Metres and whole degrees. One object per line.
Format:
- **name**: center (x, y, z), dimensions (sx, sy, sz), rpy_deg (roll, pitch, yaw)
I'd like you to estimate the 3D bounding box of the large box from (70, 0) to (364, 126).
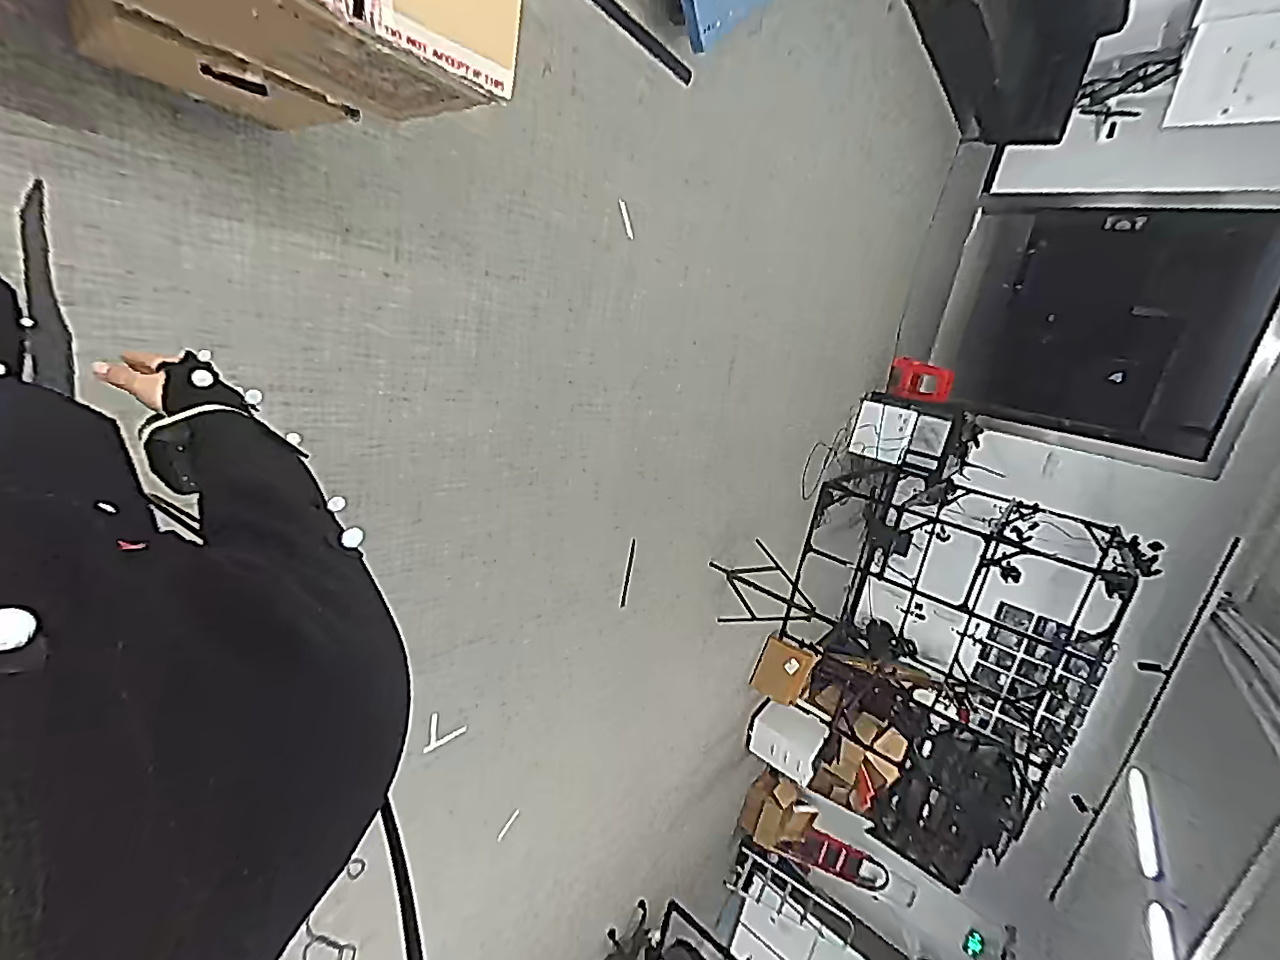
- **large box**: center (-0.655, -0.838, 0.839), dimensions (0.320, 0.320, 0.408), rpy_deg (-10, 116, -51)
